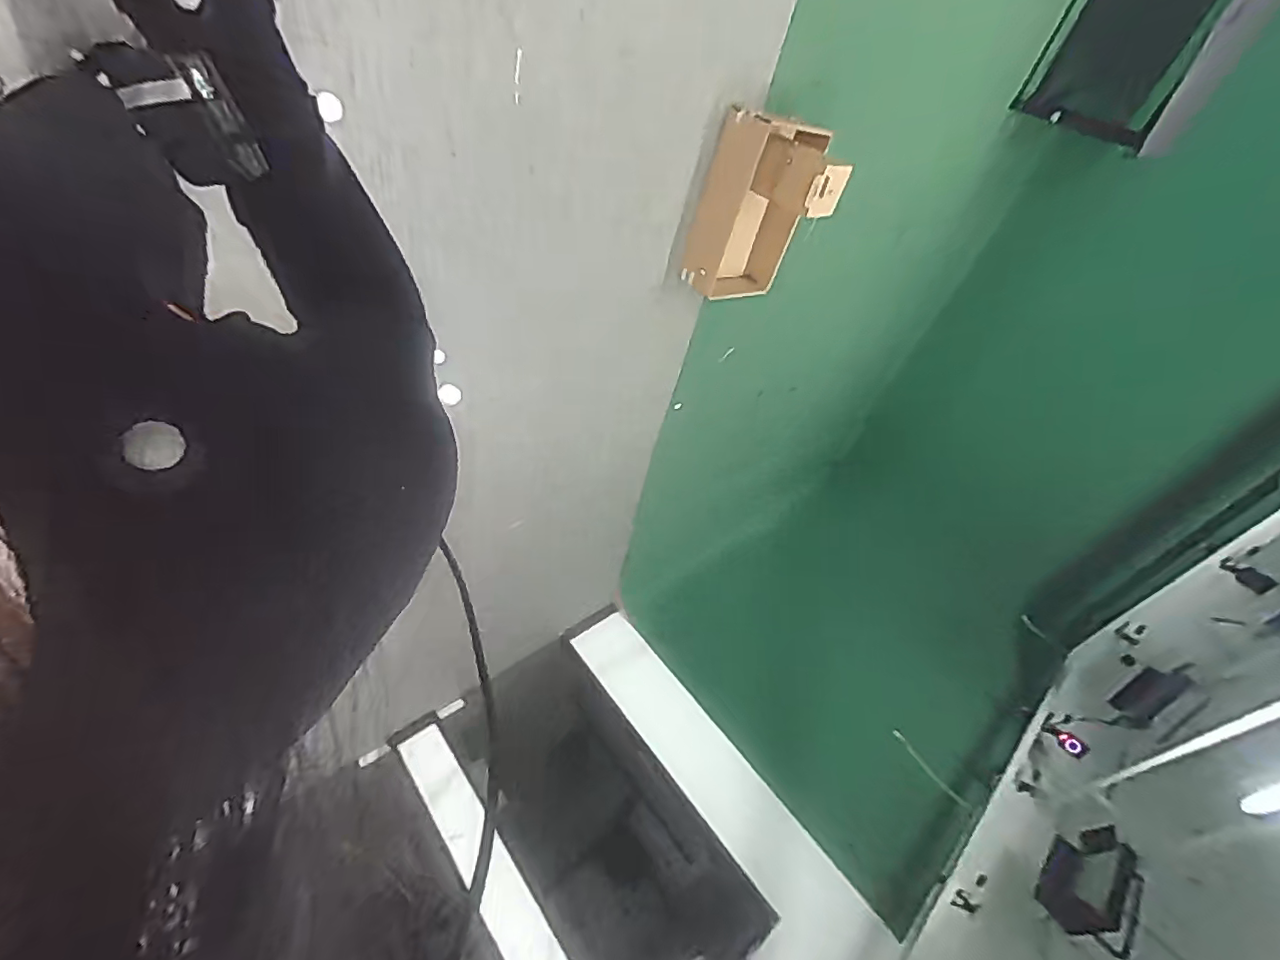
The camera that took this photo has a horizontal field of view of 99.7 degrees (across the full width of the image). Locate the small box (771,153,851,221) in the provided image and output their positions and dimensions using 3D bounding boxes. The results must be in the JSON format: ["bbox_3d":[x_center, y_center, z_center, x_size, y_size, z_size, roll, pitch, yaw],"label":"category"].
[{"bbox_3d":[0.586,-1.017,1.877,0.179,0.176,0.168,-23,146,-37],"label":"small box"}]

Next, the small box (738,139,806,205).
[{"bbox_3d":[0.490,-1.119,1.964,0.179,0.176,0.168,-23,145,-35],"label":"small box"}]
